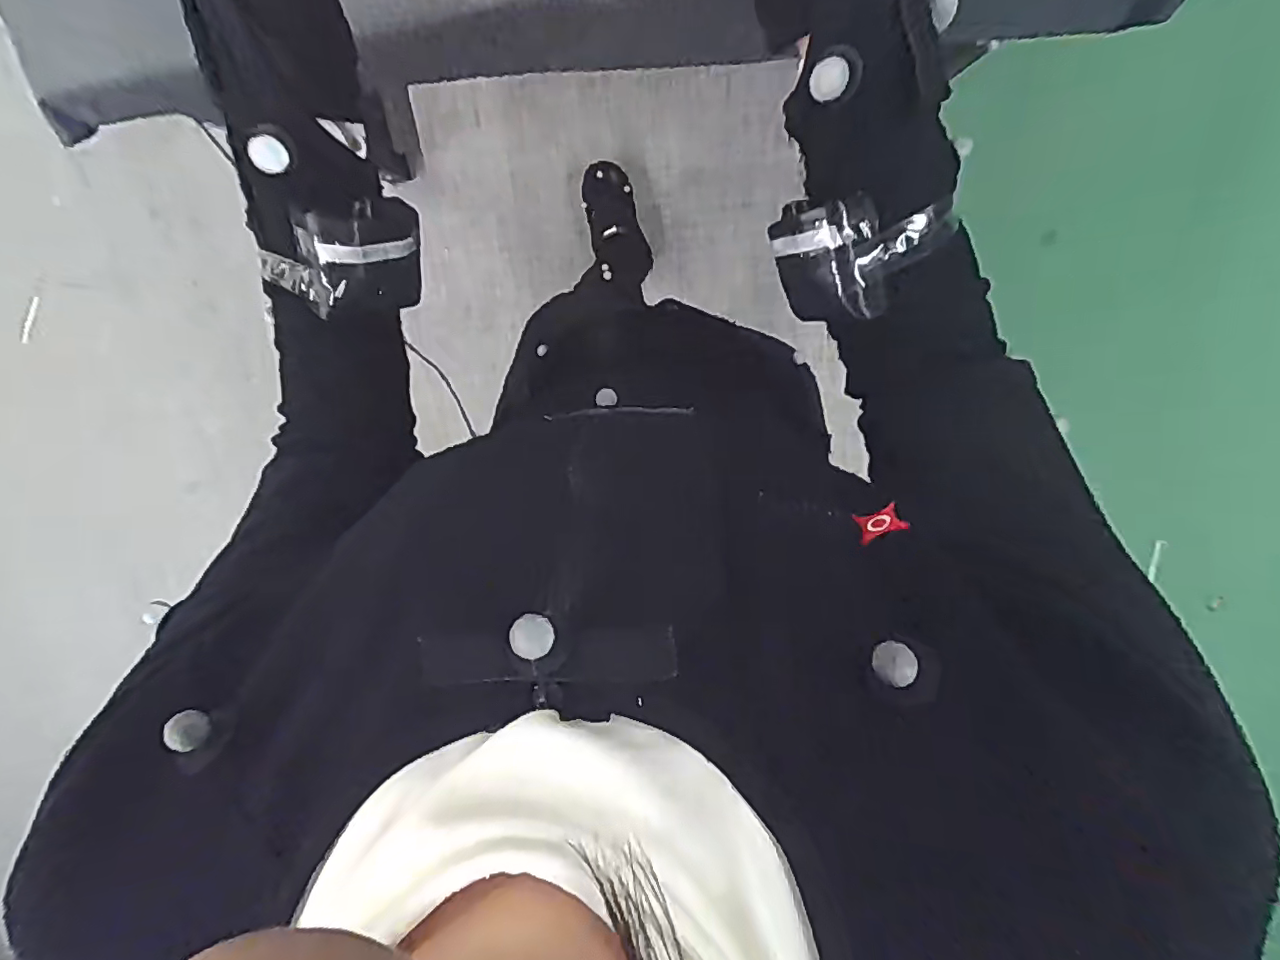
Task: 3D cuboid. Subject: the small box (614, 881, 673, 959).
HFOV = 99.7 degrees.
[{"bbox_3d":[0.018,1.623,1.995,0.179,0.176,0.168,-13,109,10],"label":"small box"}]
